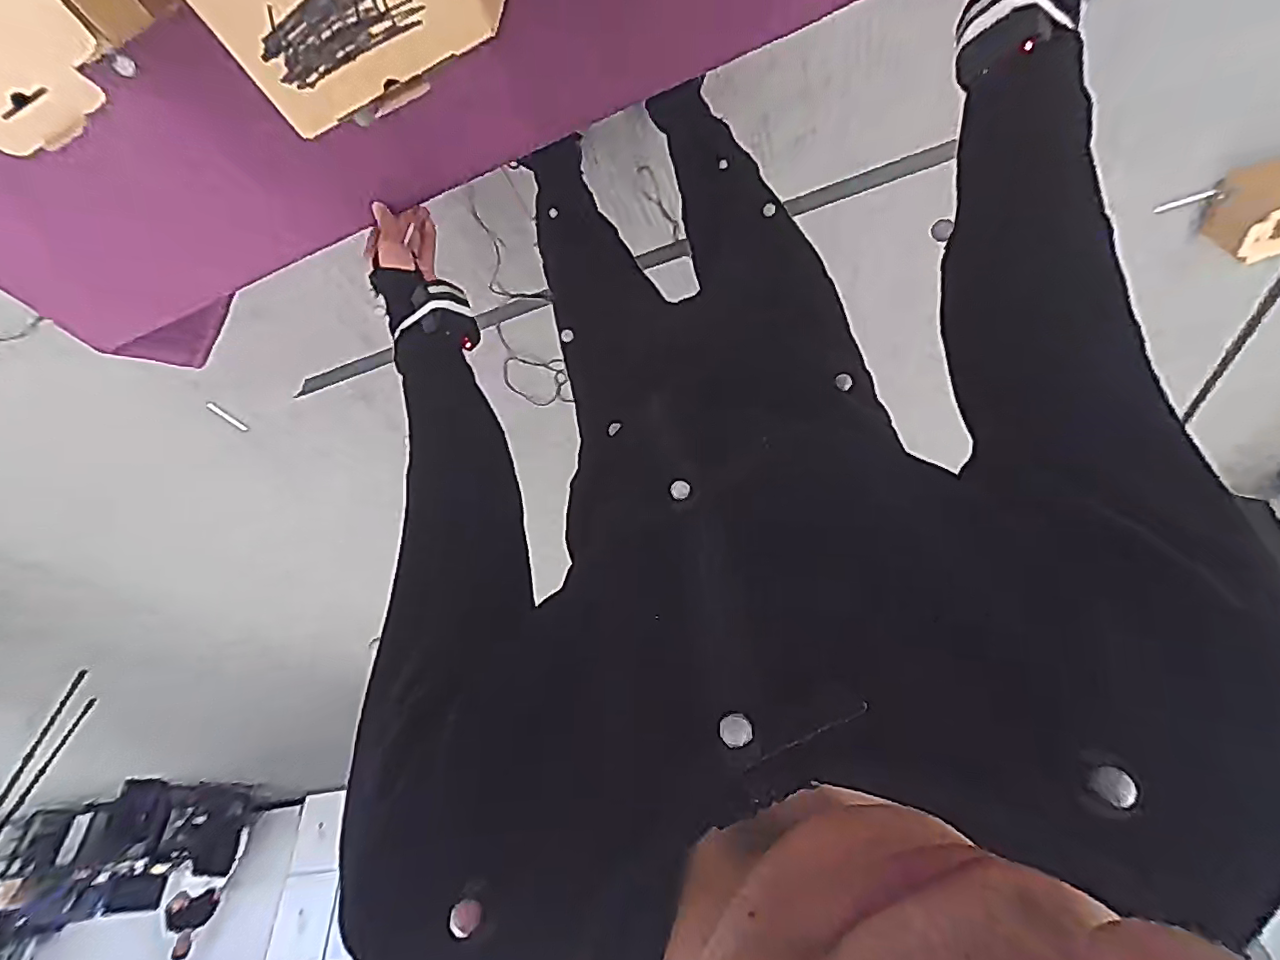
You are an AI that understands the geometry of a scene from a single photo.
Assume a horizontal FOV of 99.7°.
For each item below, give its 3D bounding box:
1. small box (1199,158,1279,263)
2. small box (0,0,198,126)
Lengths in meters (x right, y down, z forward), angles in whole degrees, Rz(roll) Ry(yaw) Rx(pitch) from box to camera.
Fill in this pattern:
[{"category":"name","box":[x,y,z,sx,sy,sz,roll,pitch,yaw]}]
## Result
[{"category":"small box","box":[1.636,-0.709,1.407,0.179,0.176,0.168,-18,142,15]},{"category":"small box","box":[-0.451,-0.367,0.351,0.168,0.176,0.179,-16,142,14]}]
